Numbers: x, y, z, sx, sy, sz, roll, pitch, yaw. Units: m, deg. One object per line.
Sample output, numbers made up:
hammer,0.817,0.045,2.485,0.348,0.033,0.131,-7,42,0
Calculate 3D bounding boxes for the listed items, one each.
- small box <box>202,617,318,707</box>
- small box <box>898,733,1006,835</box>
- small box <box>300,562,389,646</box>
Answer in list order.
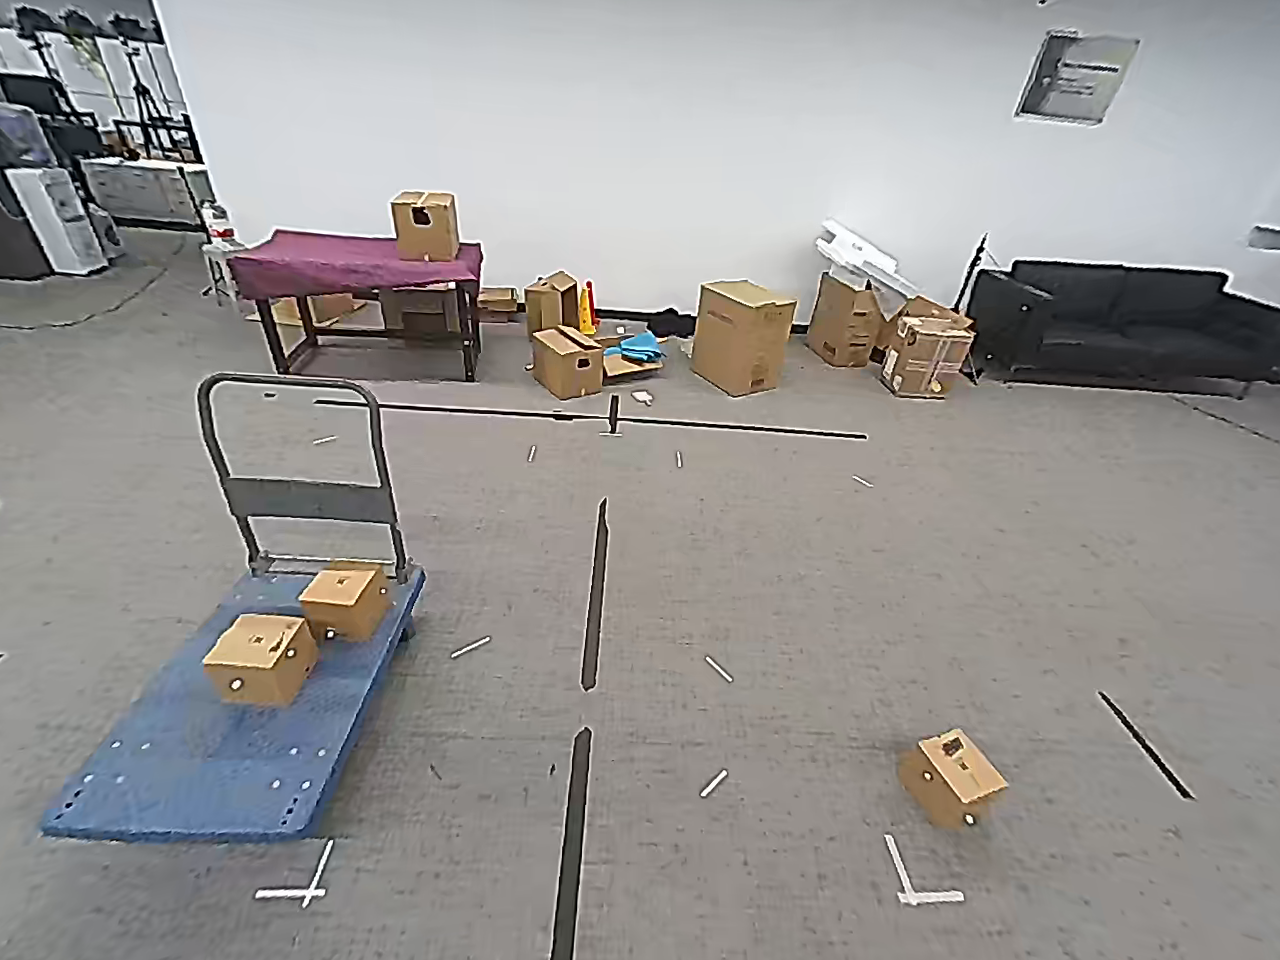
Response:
small box,-1.014,0.493,1.461,0.179,0.176,0.168,4,35,-1
small box,0.877,0.864,1.541,0.168,0.176,0.179,-7,36,-18
small box,-0.893,0.378,1.656,0.168,0.176,0.179,5,35,2
